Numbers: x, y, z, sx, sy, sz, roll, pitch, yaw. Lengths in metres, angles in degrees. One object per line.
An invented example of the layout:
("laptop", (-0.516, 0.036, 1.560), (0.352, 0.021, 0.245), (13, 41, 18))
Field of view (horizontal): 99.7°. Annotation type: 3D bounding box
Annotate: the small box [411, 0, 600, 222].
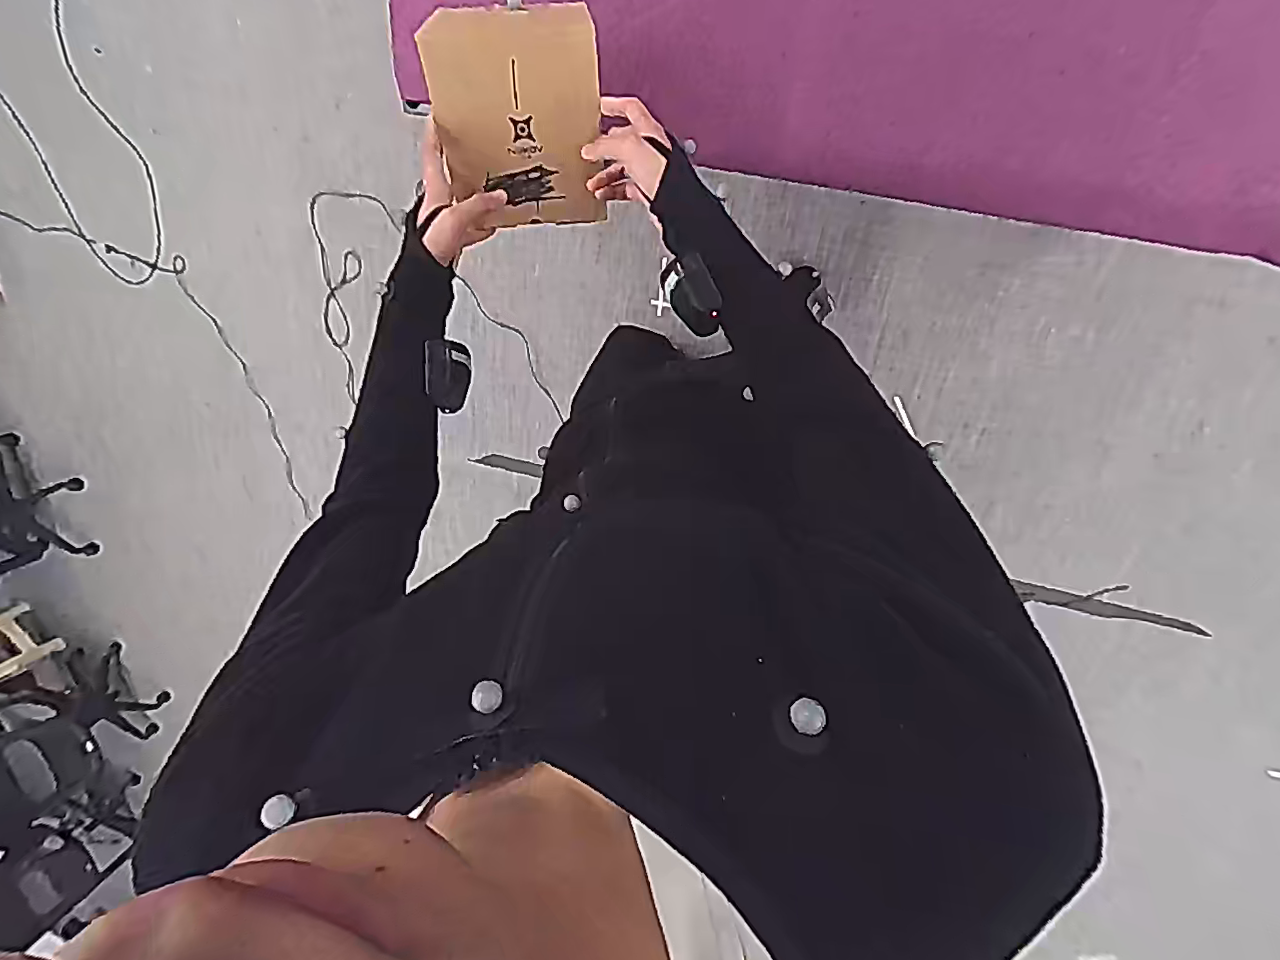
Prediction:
("small box", (-0.134, -0.415, 0.606), (0.168, 0.176, 0.179), (-6, 137, -4))
